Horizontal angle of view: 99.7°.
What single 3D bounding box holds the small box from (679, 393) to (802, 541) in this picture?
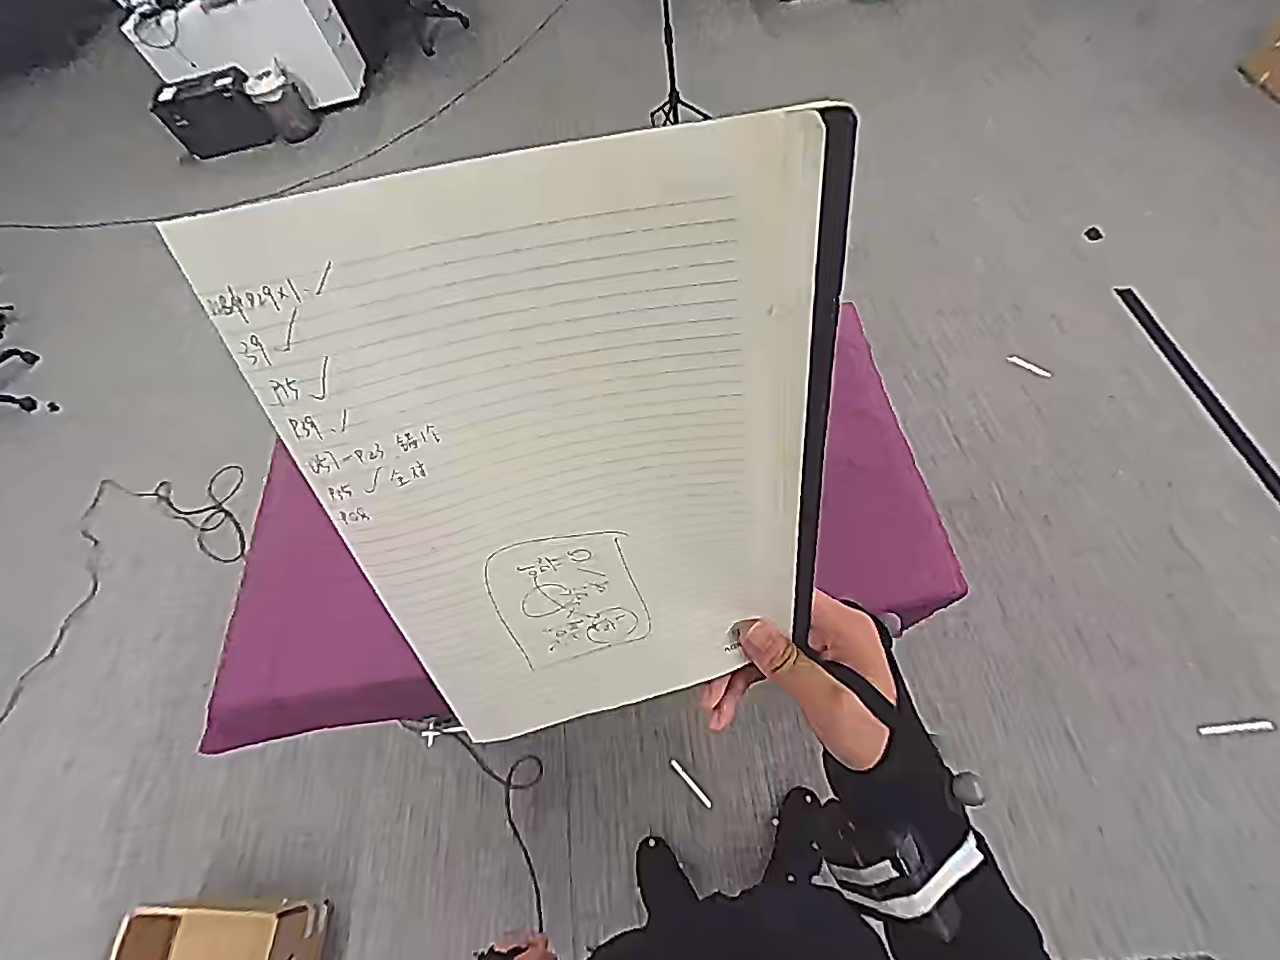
[{"bbox_3d":[0.153,-0.011,0.845,0.168,0.176,0.179,-4,61,8],"label":"small box"}]
